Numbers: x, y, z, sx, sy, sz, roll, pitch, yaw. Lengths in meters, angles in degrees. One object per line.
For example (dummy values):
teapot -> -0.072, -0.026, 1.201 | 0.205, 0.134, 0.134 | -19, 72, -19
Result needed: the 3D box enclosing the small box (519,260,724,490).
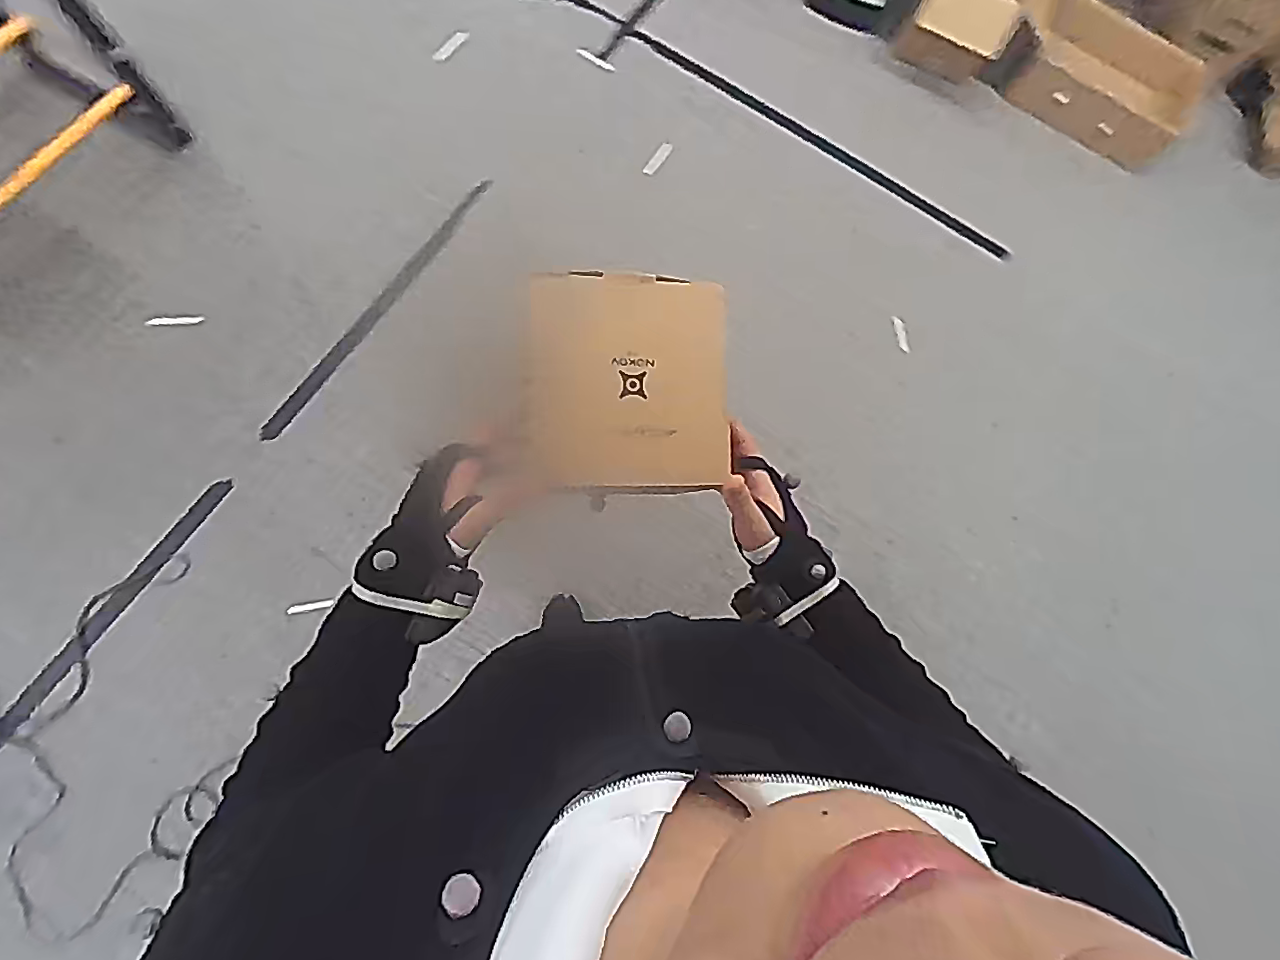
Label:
small box -> -0.029, -0.083, 0.515 | 0.168, 0.176, 0.179 | -2, 87, -12
